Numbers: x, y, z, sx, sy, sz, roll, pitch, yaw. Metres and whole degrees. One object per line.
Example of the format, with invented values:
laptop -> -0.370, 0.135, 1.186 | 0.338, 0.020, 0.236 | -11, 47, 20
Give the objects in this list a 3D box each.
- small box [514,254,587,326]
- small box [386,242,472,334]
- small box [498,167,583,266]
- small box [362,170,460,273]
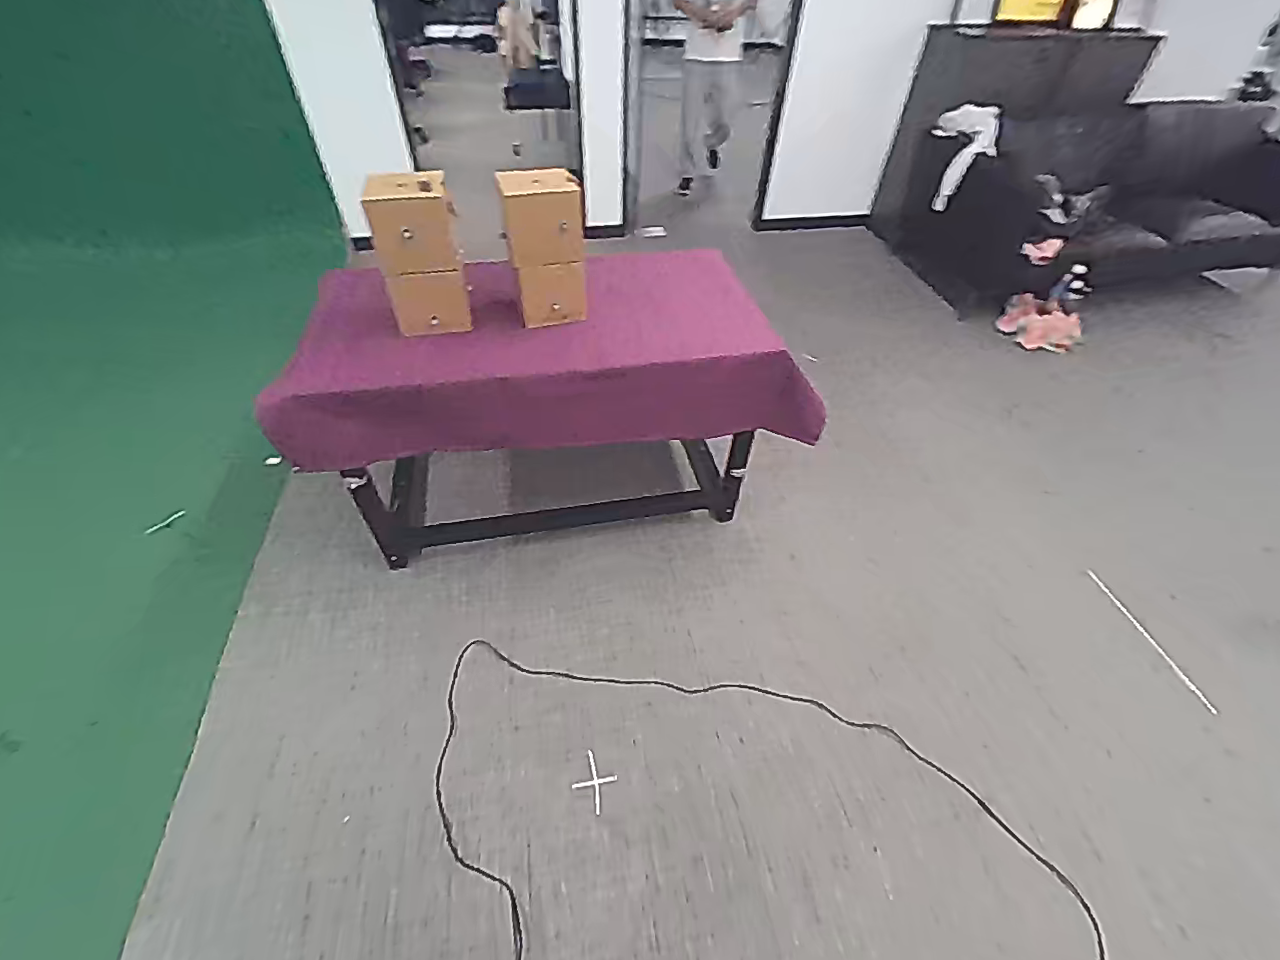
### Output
small box -> -0.244, -0.538, 1.450 | 0.168, 0.176, 0.179 | -13, 50, -14
small box -> -0.535, -0.495, 1.395 | 0.179, 0.176, 0.168 | -8, 48, -11
small box -> -0.240, -0.646, 1.327 | 0.179, 0.176, 0.168 | -12, 48, -12
small box -> -0.528, -0.607, 1.274 | 0.179, 0.176, 0.168 | -9, 49, -10
